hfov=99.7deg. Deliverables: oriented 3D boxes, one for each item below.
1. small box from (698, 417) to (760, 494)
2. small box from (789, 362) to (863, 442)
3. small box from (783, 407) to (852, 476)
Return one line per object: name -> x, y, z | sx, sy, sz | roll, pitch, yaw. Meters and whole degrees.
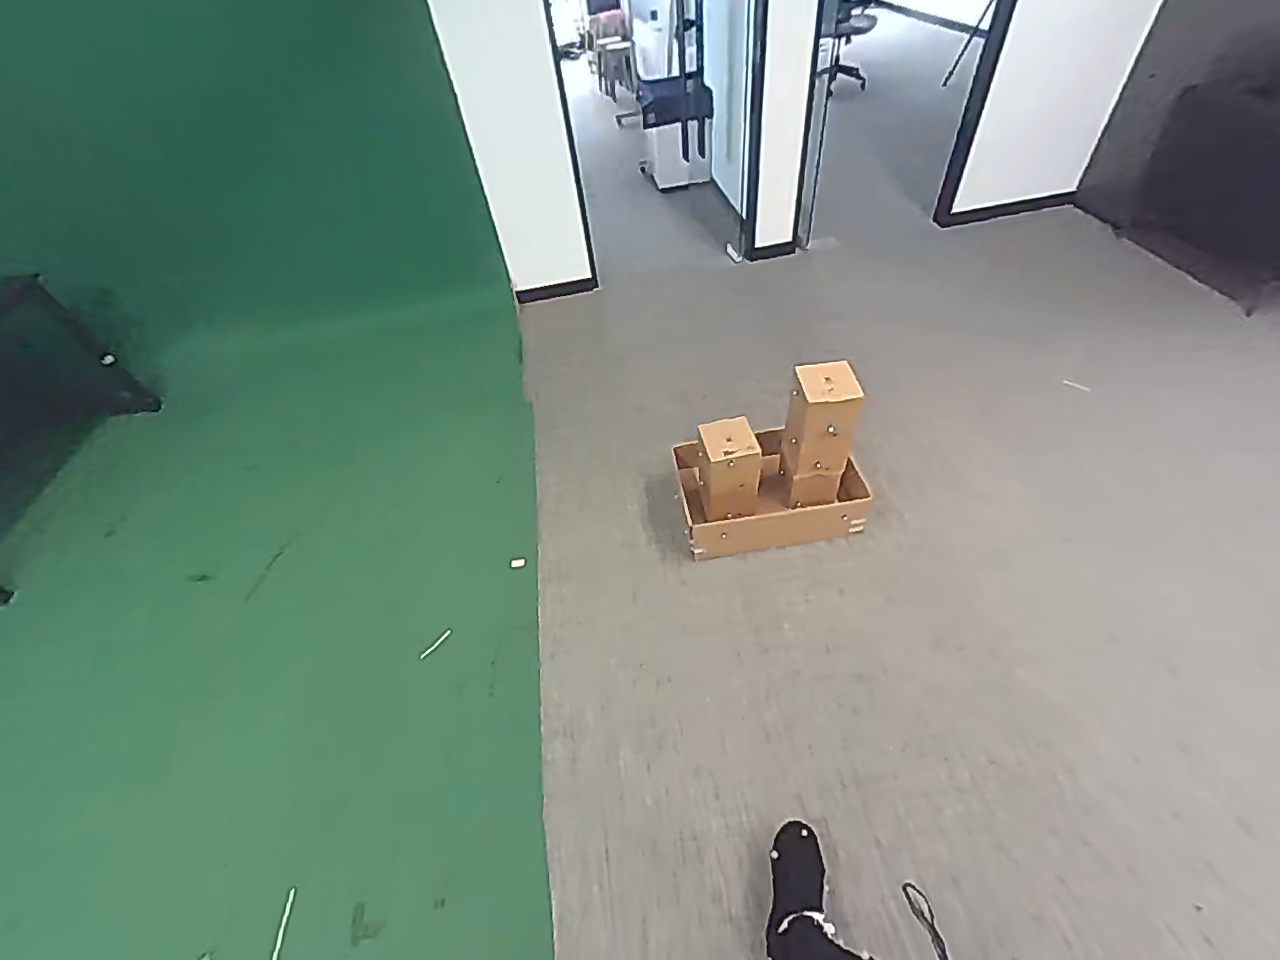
small box -> 0.289, -0.079, 1.794 | 0.168, 0.176, 0.179 | -12, 48, -2
small box -> 0.569, -0.241, 1.682 | 0.168, 0.176, 0.179 | -6, 50, 2
small box -> 0.584, -0.135, 1.808 | 0.168, 0.176, 0.179 | -6, 50, 1
